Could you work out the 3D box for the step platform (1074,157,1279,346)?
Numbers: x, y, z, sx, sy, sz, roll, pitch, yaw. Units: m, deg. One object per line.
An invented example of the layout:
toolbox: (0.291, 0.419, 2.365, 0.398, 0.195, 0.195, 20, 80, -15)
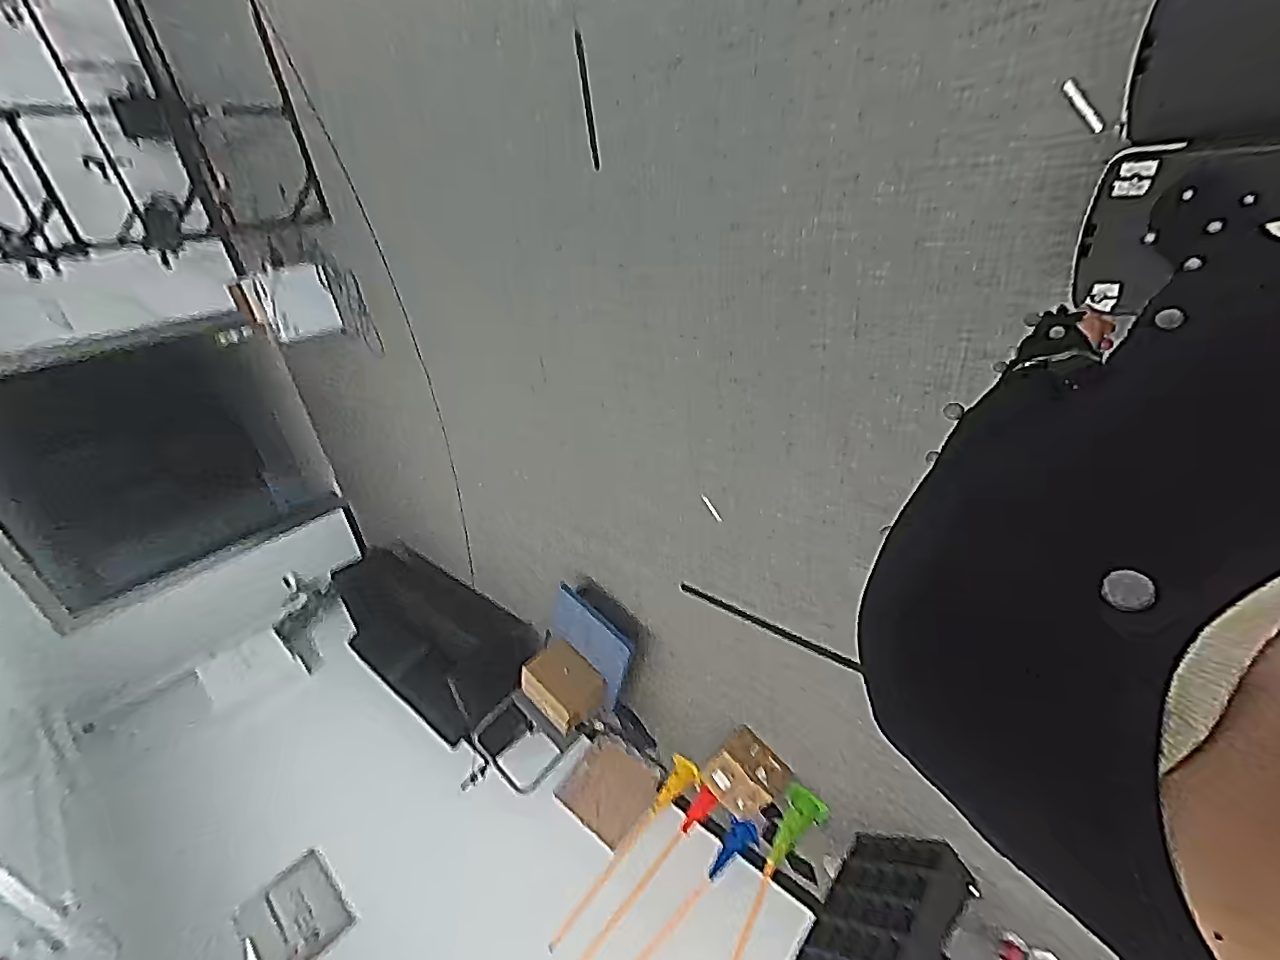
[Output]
step platform: (1.148, -0.366, 0.875, 0.684, 0.204, 0.286, 24, 129, 37)
